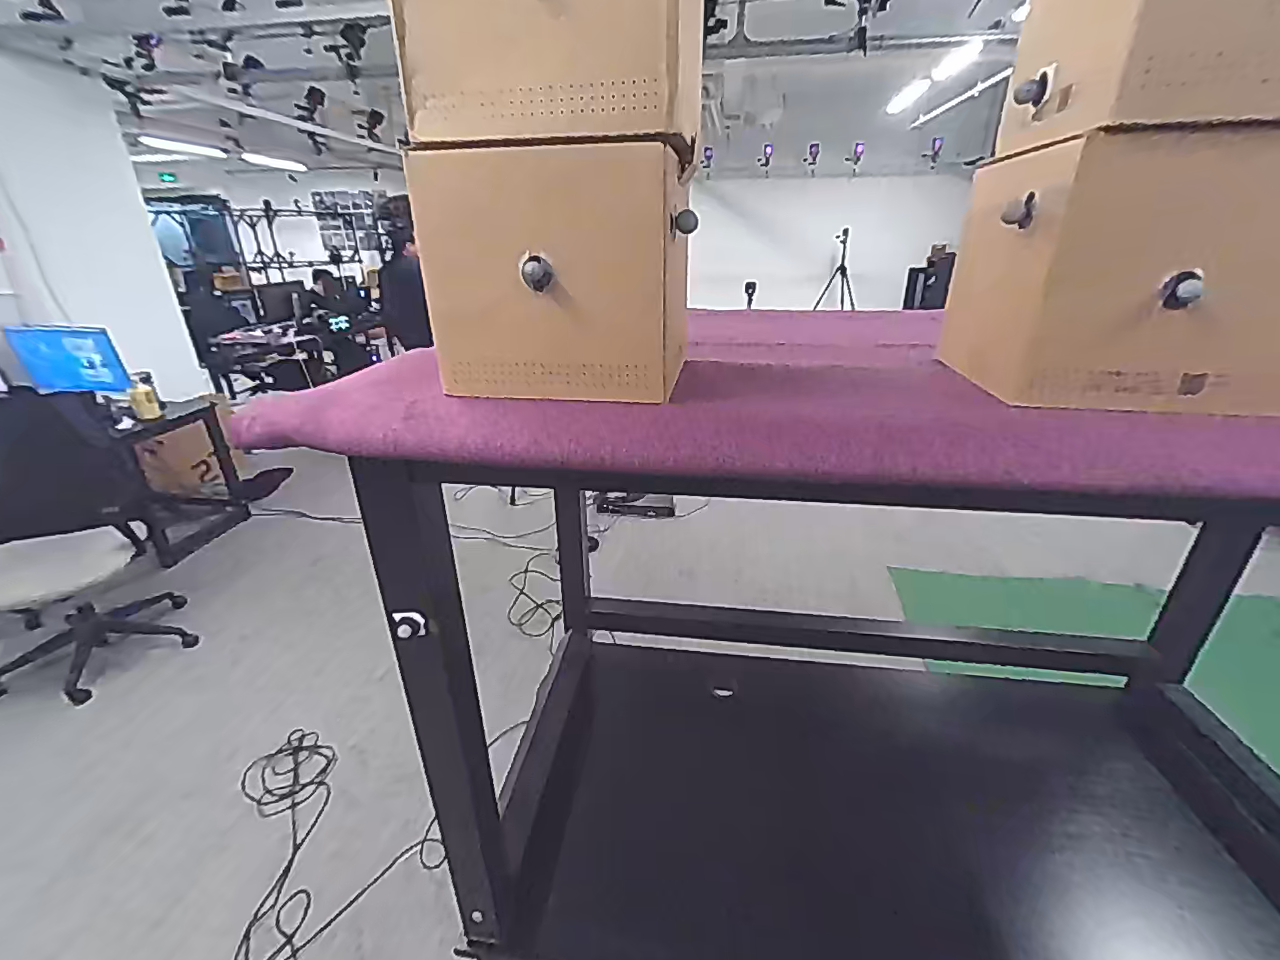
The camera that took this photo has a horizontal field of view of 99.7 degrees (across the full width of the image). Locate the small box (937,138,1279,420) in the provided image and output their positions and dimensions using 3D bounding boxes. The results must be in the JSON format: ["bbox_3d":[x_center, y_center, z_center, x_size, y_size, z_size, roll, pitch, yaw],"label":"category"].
[{"bbox_3d":[0.354,-0.150,0.412,0.168,0.176,0.179,5,25,9],"label":"small box"}]

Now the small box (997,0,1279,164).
[{"bbox_3d":[0.361,-0.293,0.333,0.179,0.176,0.168,3,24,10],"label":"small box"}]

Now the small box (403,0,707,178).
[{"bbox_3d":[-0.047,-0.311,0.372,0.179,0.176,0.168,3,25,9],"label":"small box"}]
